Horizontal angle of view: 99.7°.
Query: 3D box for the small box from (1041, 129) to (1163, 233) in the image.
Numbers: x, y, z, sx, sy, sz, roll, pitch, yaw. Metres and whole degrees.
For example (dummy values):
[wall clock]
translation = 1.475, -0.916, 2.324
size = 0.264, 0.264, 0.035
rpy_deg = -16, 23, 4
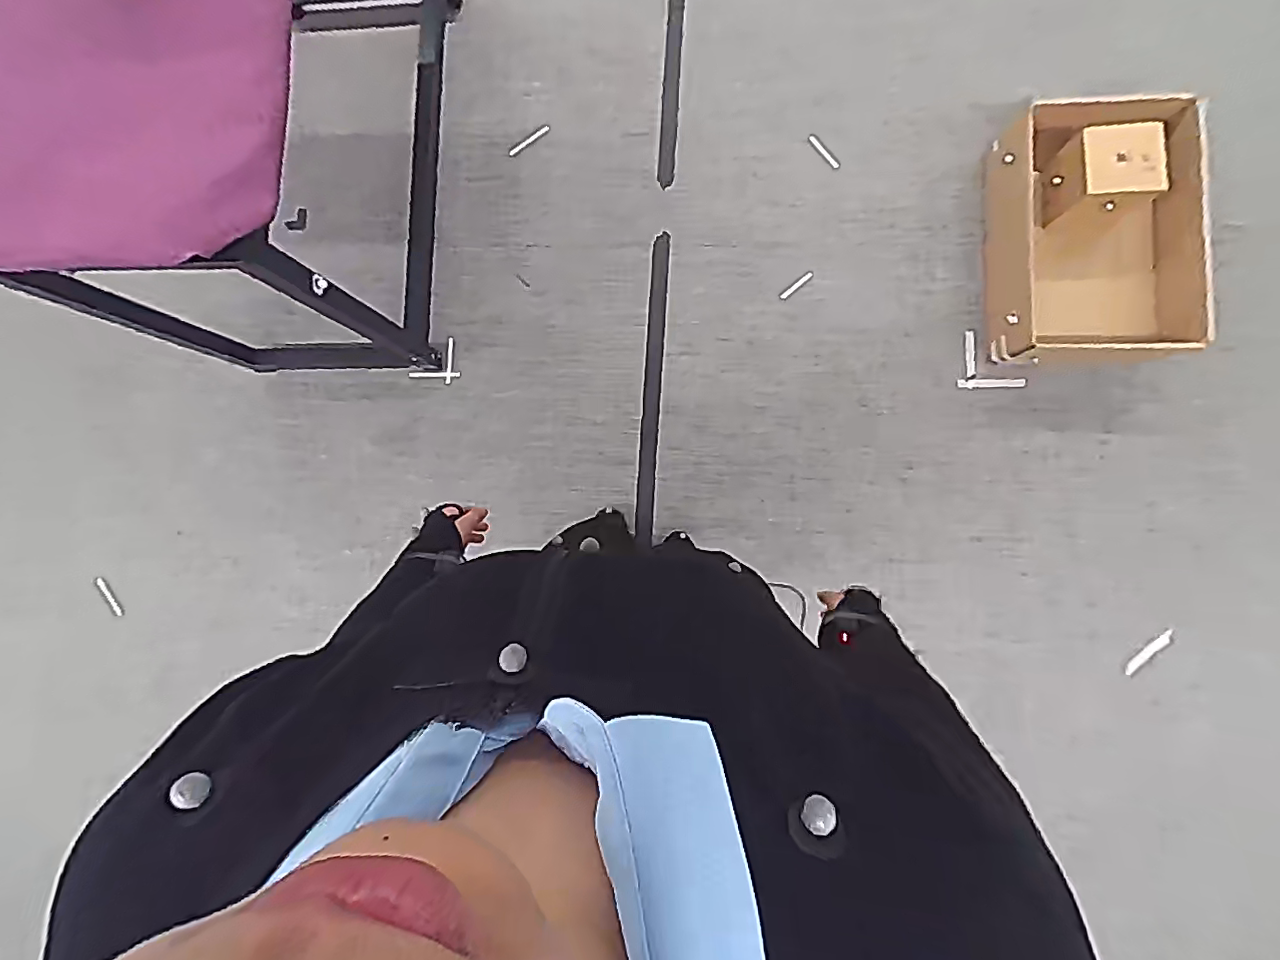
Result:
[small box]
translation = 1.137, -0.736, 1.349
size = 0.179, 0.176, 0.168
rpy_deg = 0, 87, 5
